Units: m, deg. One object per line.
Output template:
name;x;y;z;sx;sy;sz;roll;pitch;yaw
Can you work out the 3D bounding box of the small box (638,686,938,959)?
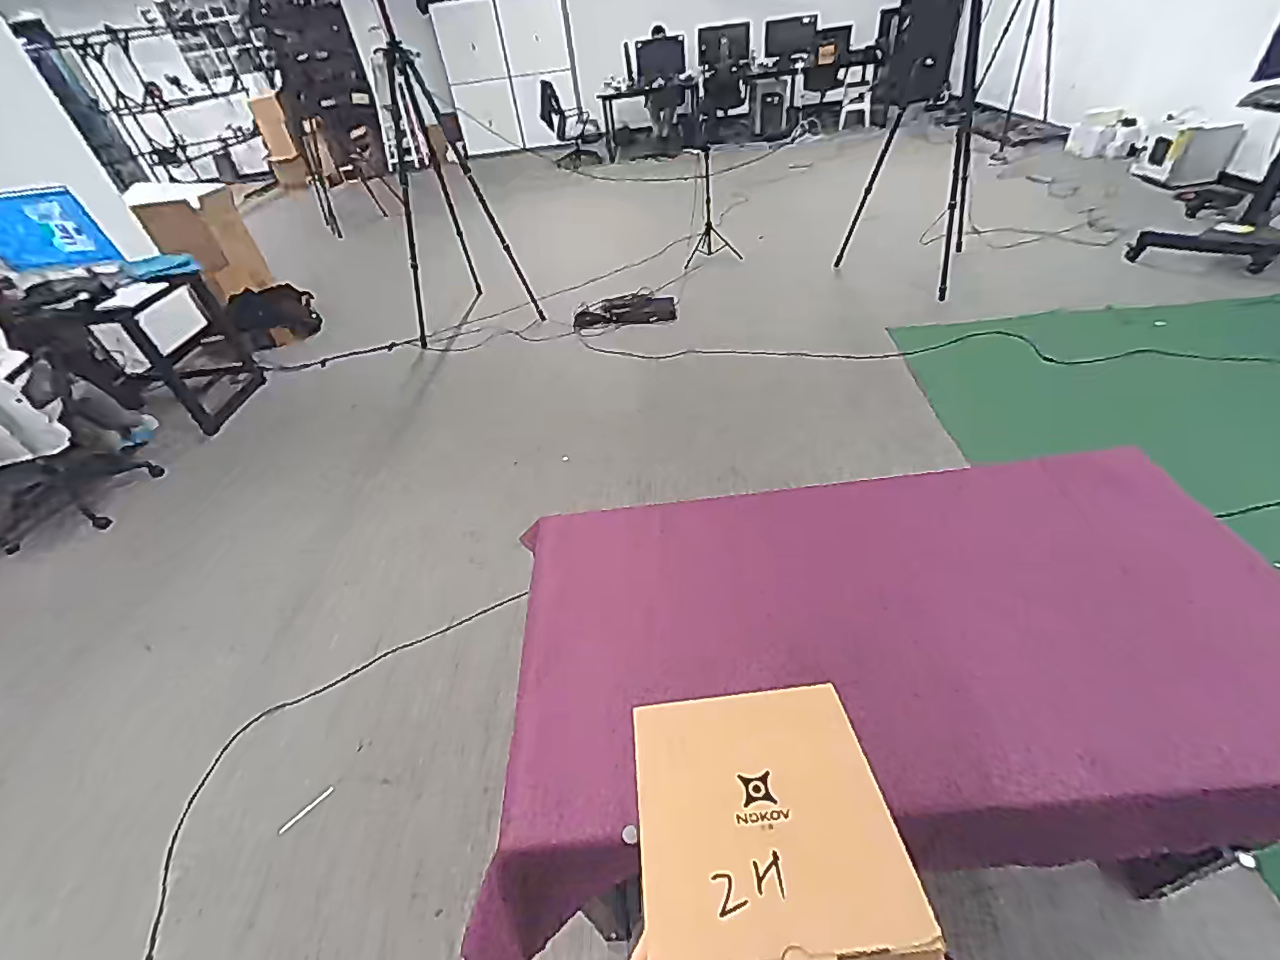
small box;0.090;0.291;0.412;0.168;0.176;0.179;-8;29;1
